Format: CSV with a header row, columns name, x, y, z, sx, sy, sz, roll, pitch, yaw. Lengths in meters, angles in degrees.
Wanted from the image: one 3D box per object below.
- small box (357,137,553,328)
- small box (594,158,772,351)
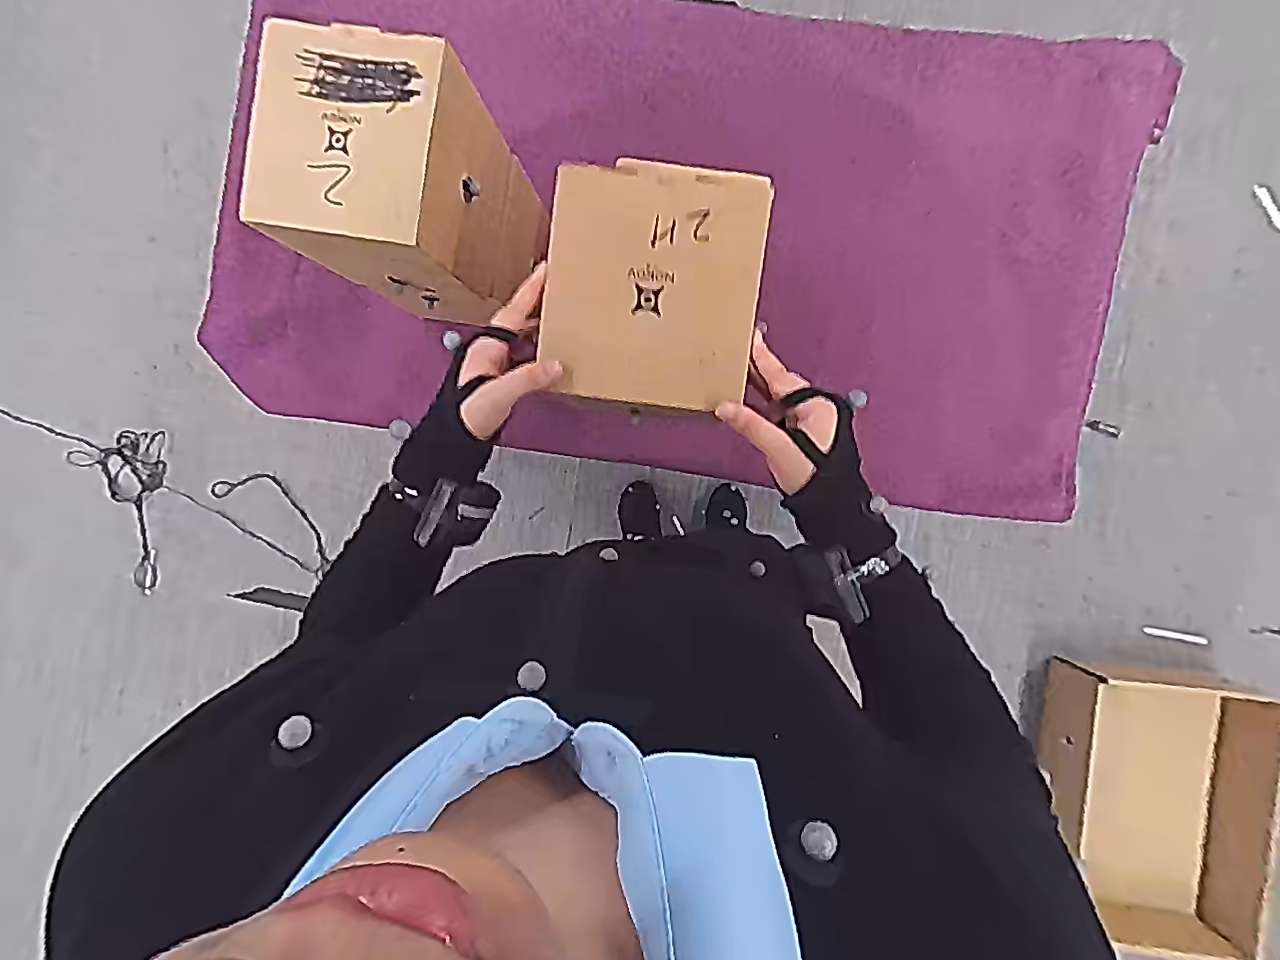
name,x,y,z,sx,sy,sz,roll,pitch,yaw
small box,-0.228,-0.307,0.704,0.179,0.176,0.168,10,92,4
small box,0.054,-0.268,0.680,0.179,0.176,0.168,10,92,6
